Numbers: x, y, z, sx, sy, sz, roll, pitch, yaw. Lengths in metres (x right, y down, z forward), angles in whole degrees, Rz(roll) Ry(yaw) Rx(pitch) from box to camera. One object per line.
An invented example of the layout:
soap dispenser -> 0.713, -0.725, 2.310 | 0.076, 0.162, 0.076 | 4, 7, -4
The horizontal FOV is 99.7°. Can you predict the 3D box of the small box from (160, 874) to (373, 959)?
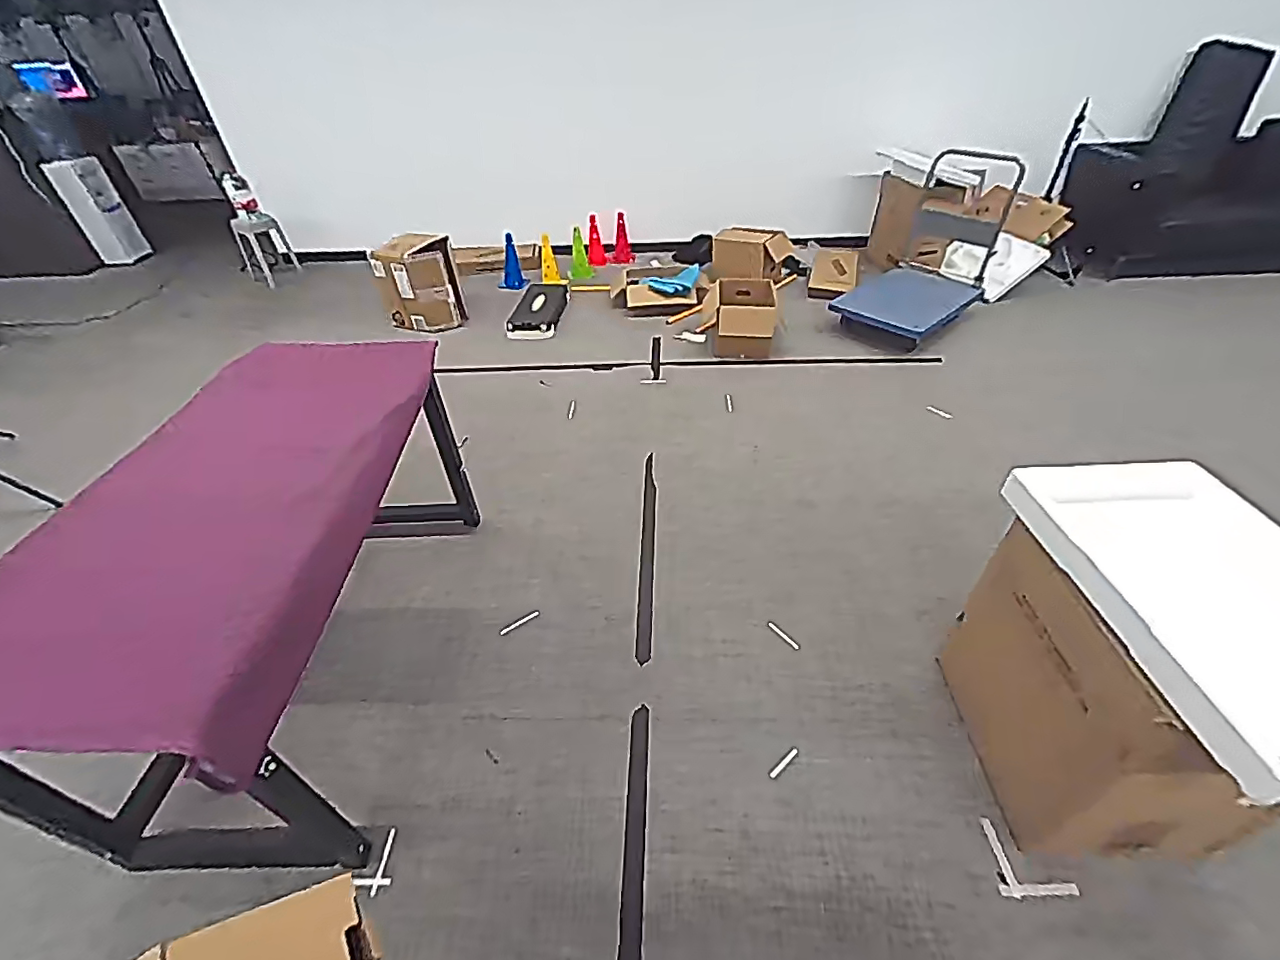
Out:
small box -> -0.392, 0.574, 0.560 | 0.179, 0.176, 0.168 | 8, 23, -44
